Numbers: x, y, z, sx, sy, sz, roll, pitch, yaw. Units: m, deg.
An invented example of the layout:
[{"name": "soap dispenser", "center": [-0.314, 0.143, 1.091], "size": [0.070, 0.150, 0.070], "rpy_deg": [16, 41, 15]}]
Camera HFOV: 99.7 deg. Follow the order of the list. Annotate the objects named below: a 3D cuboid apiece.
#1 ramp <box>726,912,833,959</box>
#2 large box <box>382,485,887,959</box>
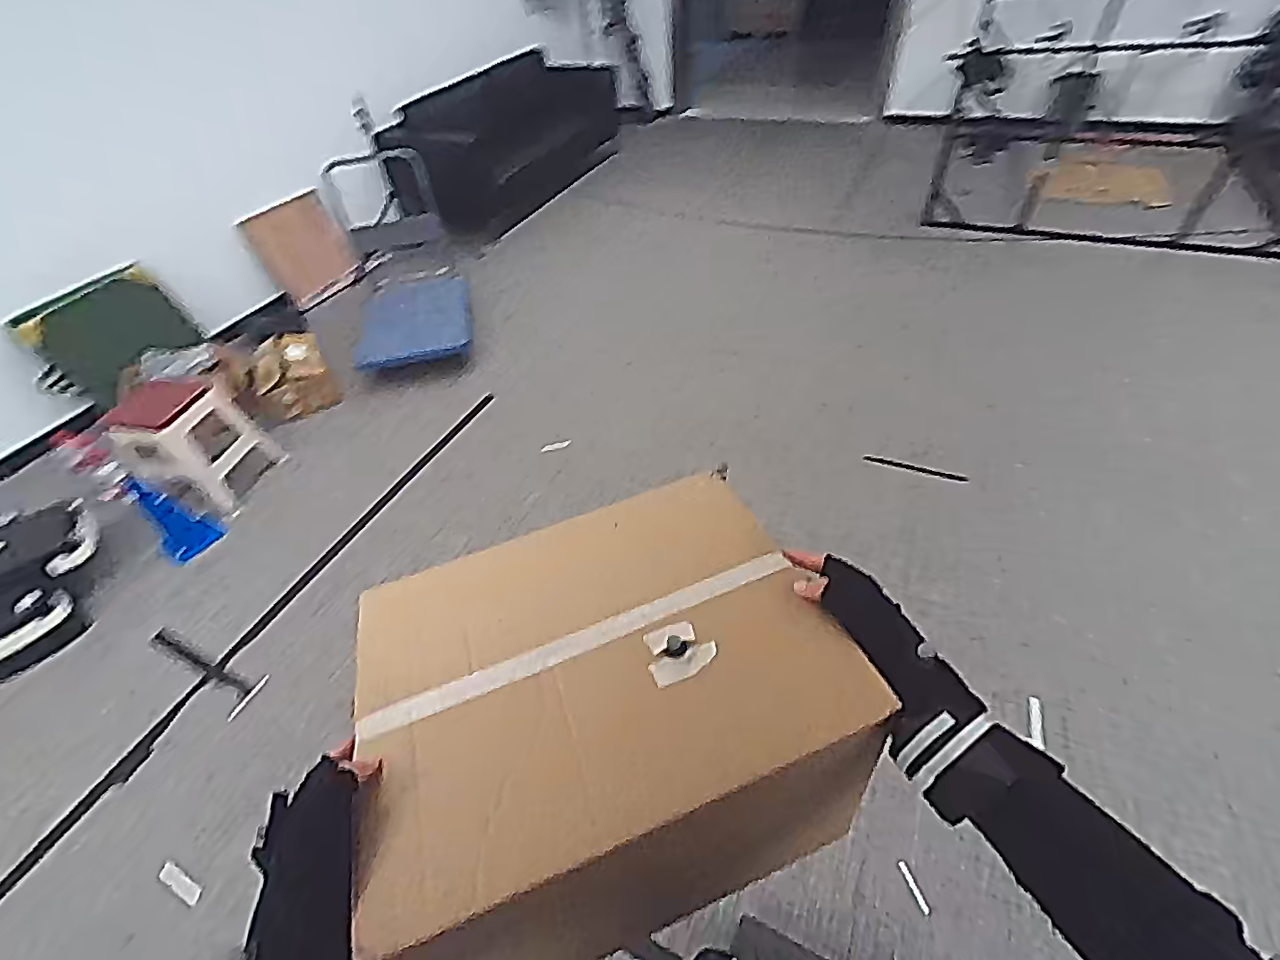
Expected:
[{"name": "ramp", "center": [0.569, 1.271, 0.920], "size": [0.991, 0.206, 0.509], "rpy_deg": [14, 49, 19]}, {"name": "large box", "center": [-0.019, 0.268, 0.594], "size": [0.408, 0.320, 0.320], "rpy_deg": [-19, 42, -11]}]
